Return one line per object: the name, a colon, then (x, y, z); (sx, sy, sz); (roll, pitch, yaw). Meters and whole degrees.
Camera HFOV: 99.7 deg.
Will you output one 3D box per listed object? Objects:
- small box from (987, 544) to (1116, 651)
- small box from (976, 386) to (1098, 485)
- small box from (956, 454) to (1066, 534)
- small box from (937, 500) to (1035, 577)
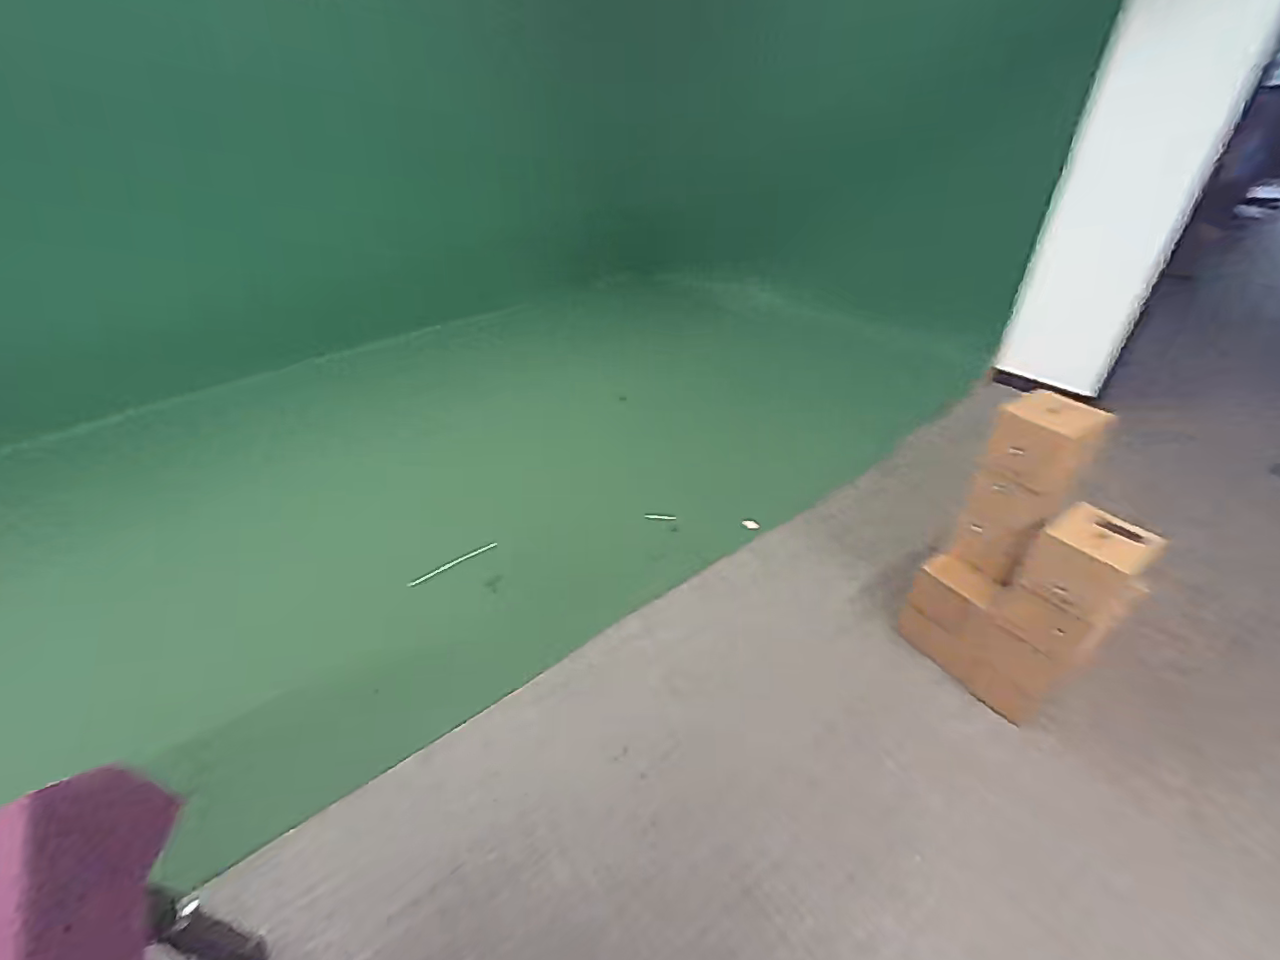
small box: (1.022, 0.300, 1.355); (0.168, 0.176, 0.179); (-25, 42, -27)
small box: (0.979, -0.110, 1.353); (0.179, 0.176, 0.168); (-20, 40, -21)
small box: (0.991, 0.016, 1.455); (0.168, 0.176, 0.179); (-25, 39, -26)
small box: (0.997, 0.145, 1.562); (0.179, 0.176, 0.168); (-23, 41, -26)
